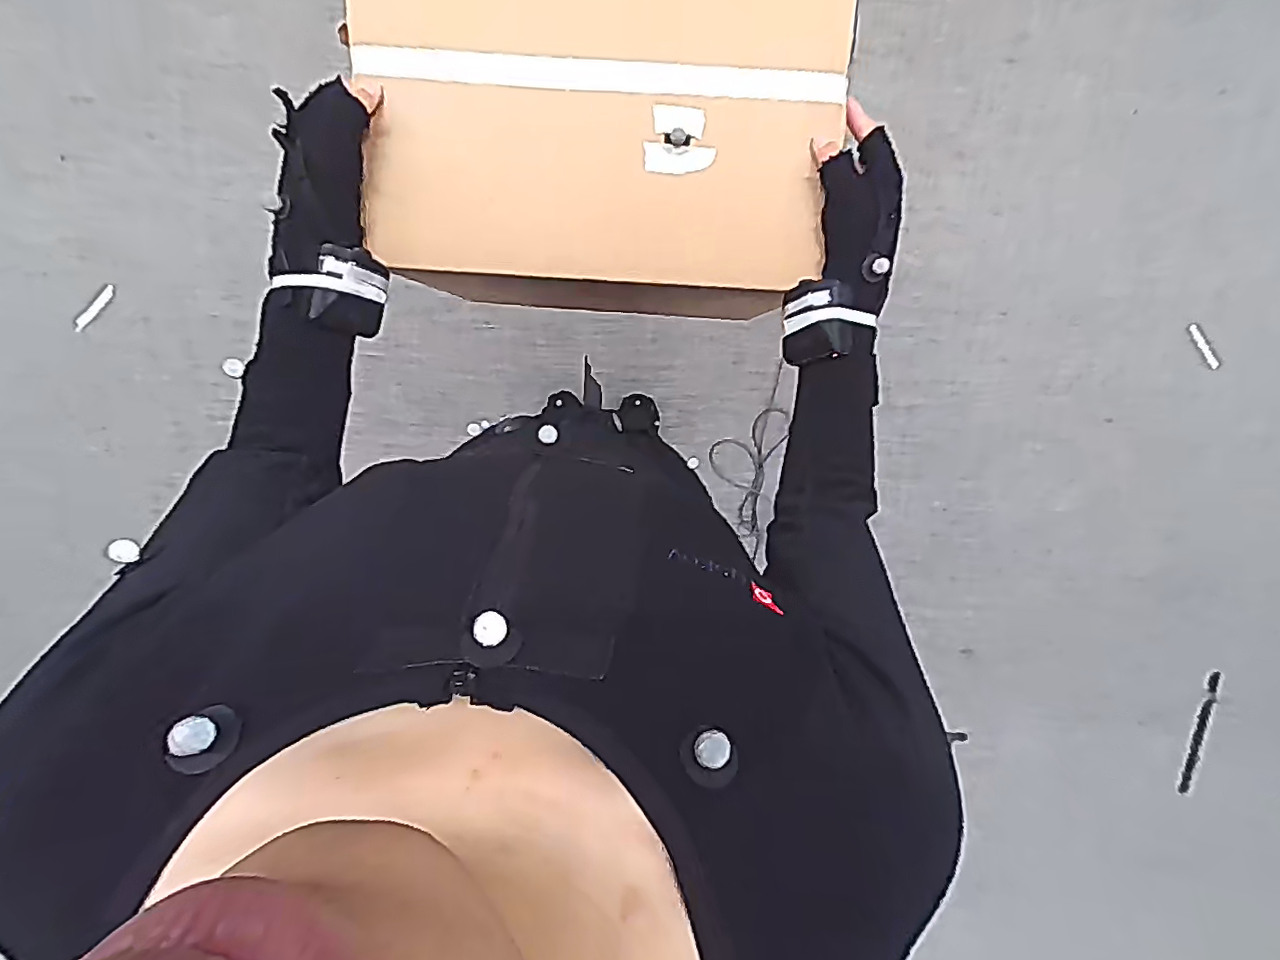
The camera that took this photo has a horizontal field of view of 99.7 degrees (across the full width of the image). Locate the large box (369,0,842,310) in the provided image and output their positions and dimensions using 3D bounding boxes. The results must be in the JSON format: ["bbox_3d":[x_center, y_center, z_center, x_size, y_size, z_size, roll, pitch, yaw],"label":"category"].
[{"bbox_3d":[-0.034,-0.370,0.610,0.408,0.320,0.320,2,103,-2],"label":"large box"}]
